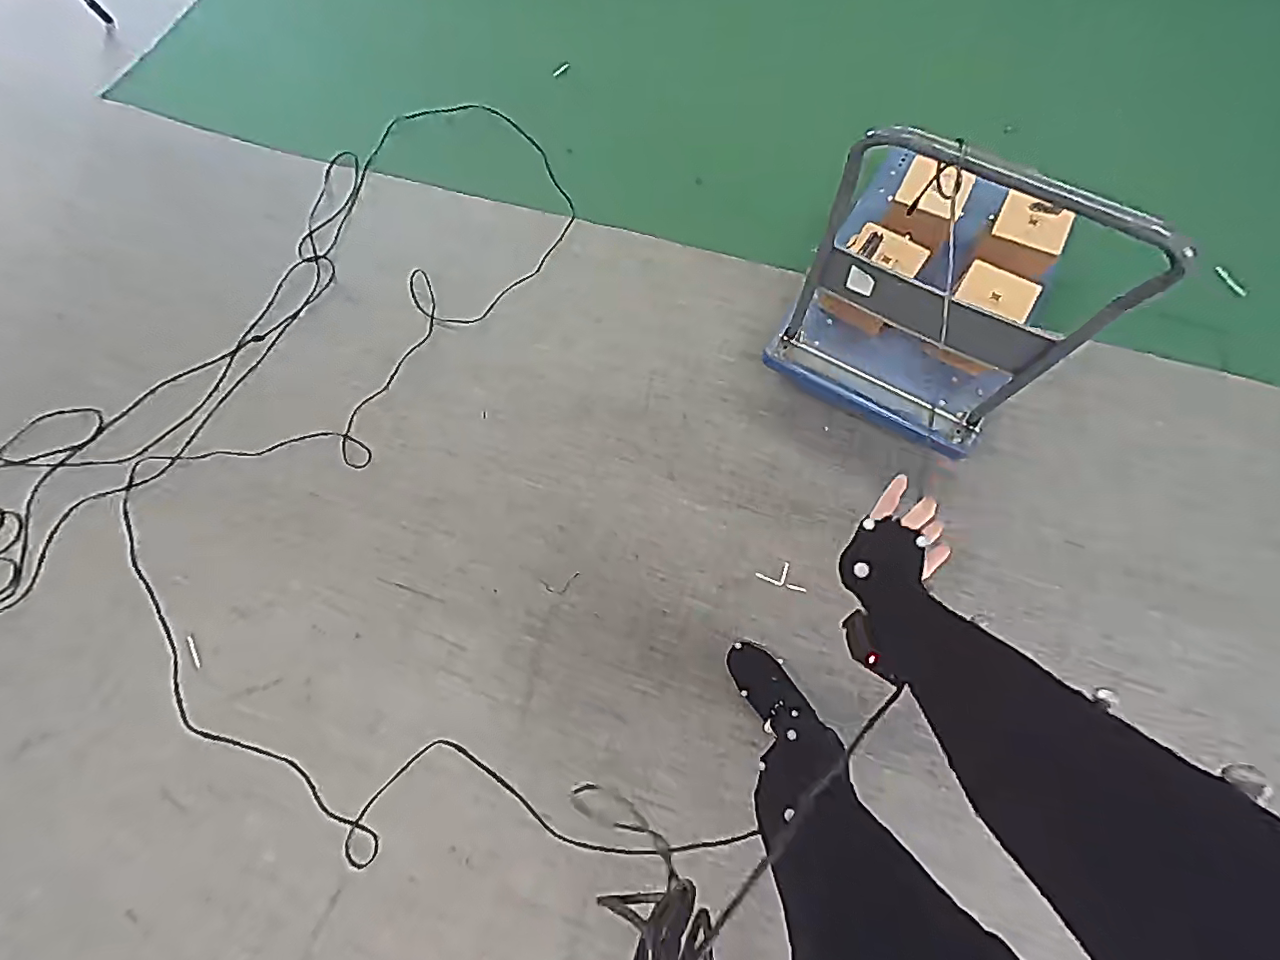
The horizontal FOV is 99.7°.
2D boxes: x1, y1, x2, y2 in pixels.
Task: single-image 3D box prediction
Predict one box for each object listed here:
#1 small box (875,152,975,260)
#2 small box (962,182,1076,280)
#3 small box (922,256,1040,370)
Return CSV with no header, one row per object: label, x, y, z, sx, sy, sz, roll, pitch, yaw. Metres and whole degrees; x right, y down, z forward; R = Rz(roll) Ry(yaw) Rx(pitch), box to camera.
small box,0.767,-0.740,1.475,0.168,0.176,0.179,26,74,11
small box,0.988,-0.632,1.424,0.168,0.176,0.179,26,75,13
small box,0.845,-0.413,1.357,0.168,0.176,0.179,31,76,13
